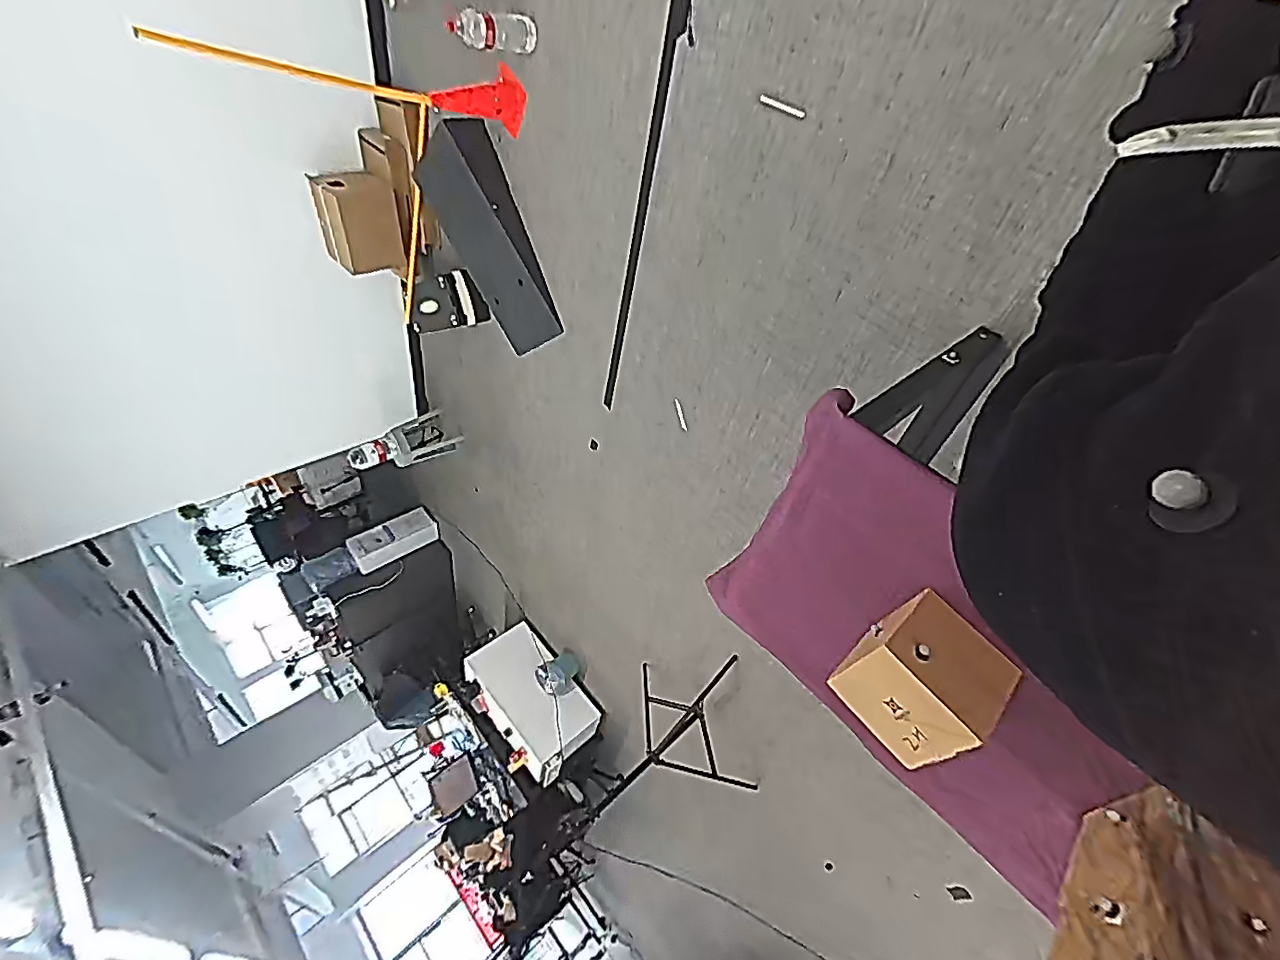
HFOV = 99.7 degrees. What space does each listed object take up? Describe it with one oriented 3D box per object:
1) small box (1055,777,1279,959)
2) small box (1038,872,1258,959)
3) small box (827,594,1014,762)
[{"bbox_3d":[0.706,0.537,0.706,0.179,0.176,0.168,41,140,27],"label":"small box"},{"bbox_3d":[0.593,0.593,0.604,0.179,0.176,0.168,43,140,26],"label":"small box"},{"bbox_3d":[0.447,0.307,0.869,0.179,0.176,0.168,46,143,19],"label":"small box"}]
